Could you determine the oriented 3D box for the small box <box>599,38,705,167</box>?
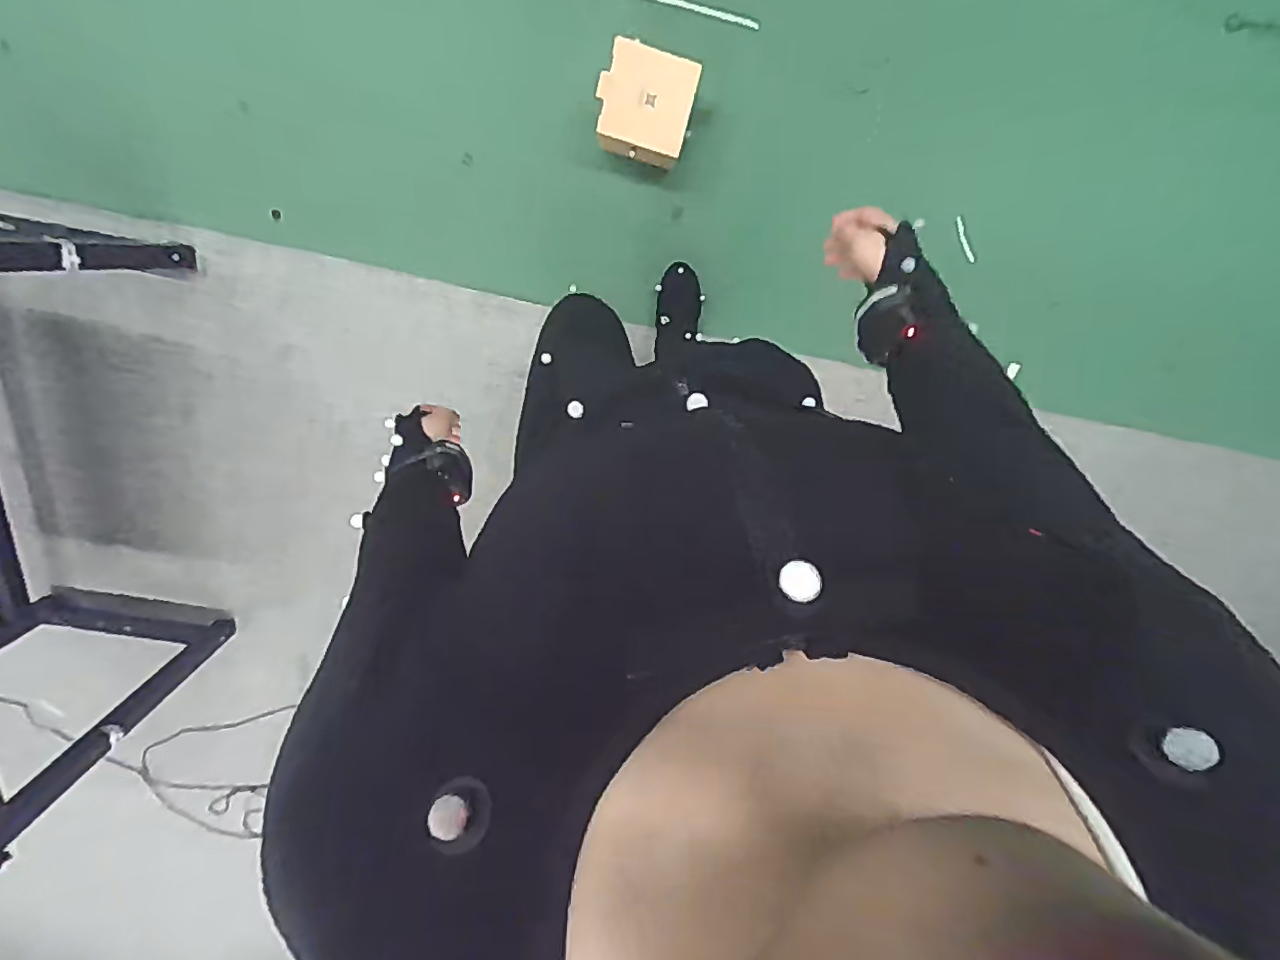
[{"bbox_3d":[0.022,-0.774,1.131,0.179,0.176,0.168,15,112,-5],"label":"small box"}]
